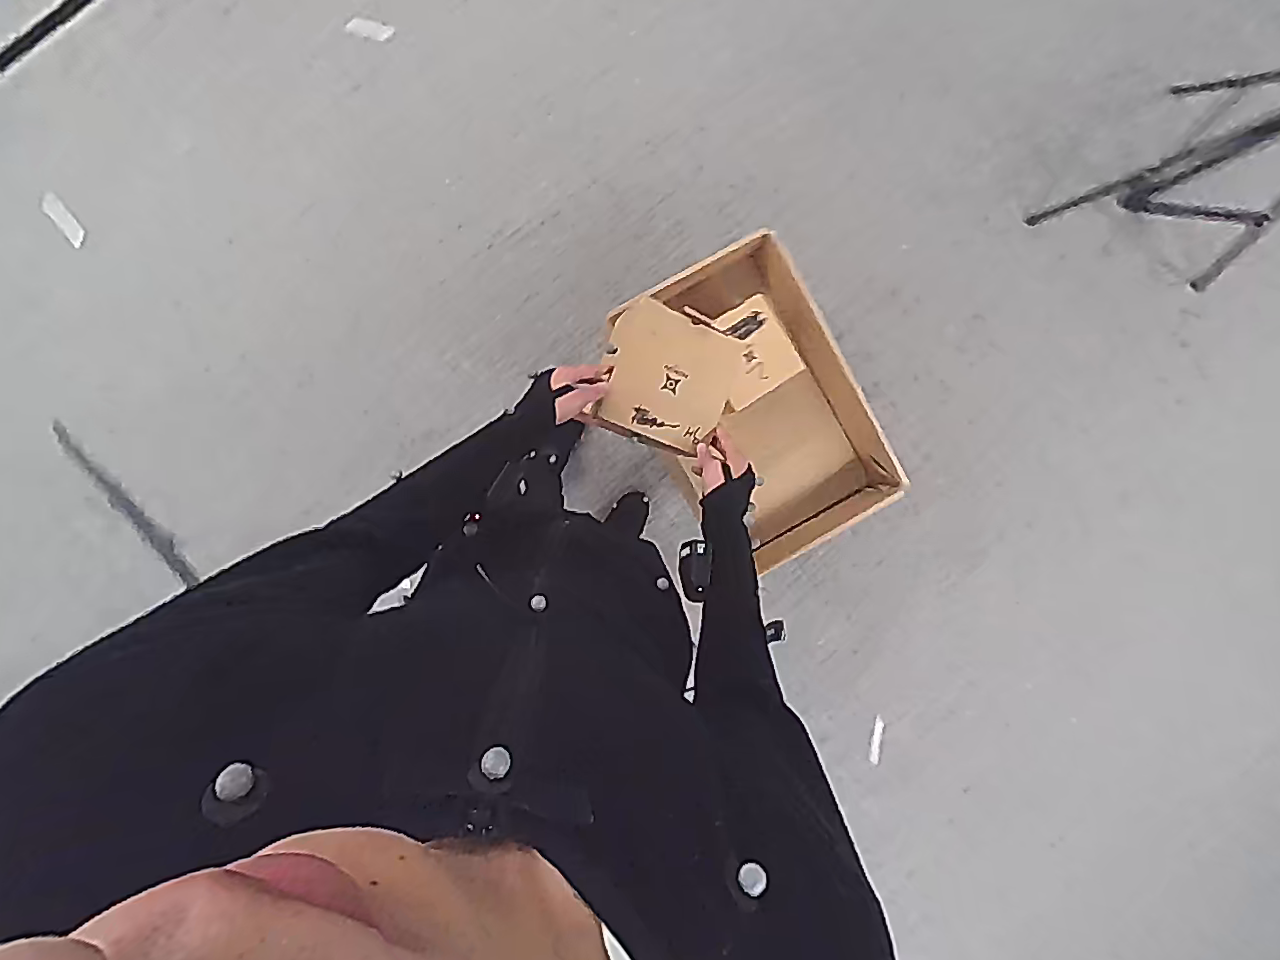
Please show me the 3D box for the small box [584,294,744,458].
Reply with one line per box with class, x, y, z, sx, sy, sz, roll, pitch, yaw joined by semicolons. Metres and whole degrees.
small box;0.025;-0.145;0.809;0.168;0.176;0.179;20;90;-15
